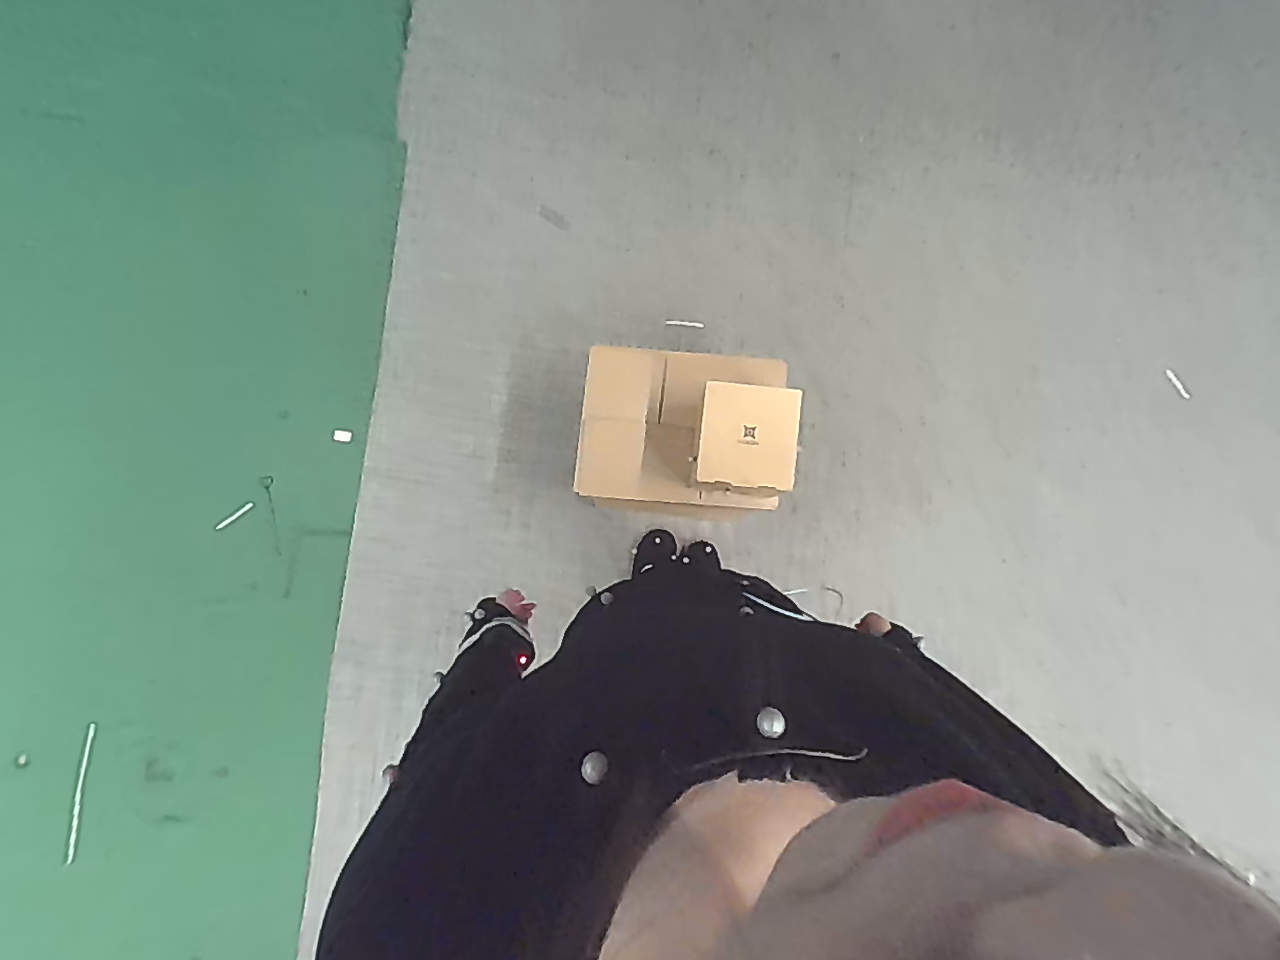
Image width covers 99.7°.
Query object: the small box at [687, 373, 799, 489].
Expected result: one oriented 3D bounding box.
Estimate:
[{"bbox_3d":[0.180,-0.082,0.993,0.168,0.176,0.179,7,87,2],"label":"small box"}]
